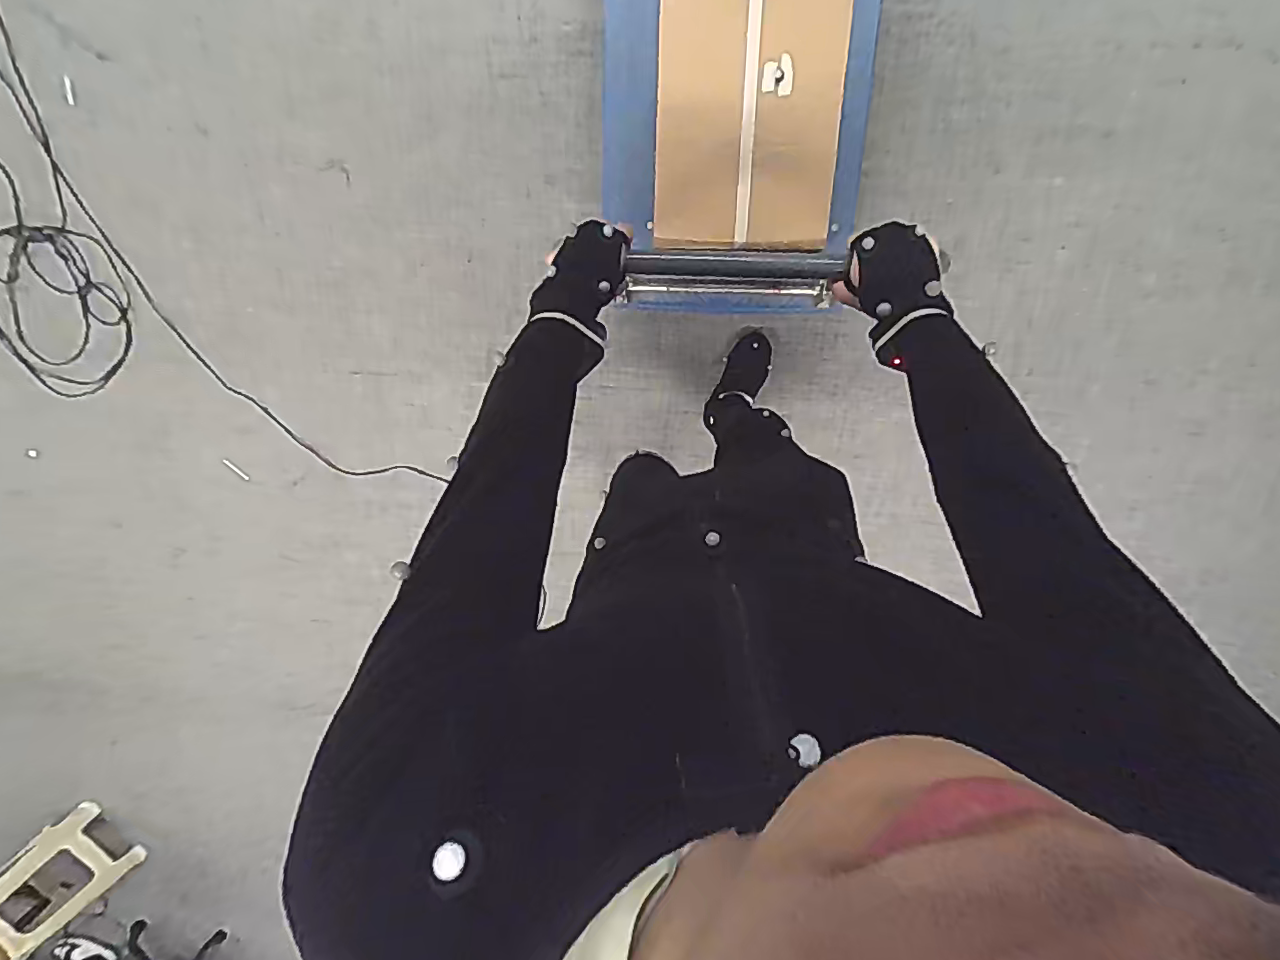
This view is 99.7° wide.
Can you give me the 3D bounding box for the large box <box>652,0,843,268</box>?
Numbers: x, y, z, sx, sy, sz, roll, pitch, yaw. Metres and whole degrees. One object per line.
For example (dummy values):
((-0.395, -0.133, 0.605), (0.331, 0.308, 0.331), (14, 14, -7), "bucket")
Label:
((0.197, -0.657, 1.086), (0.320, 0.320, 0.408), (3, 106, 6), "large box")
